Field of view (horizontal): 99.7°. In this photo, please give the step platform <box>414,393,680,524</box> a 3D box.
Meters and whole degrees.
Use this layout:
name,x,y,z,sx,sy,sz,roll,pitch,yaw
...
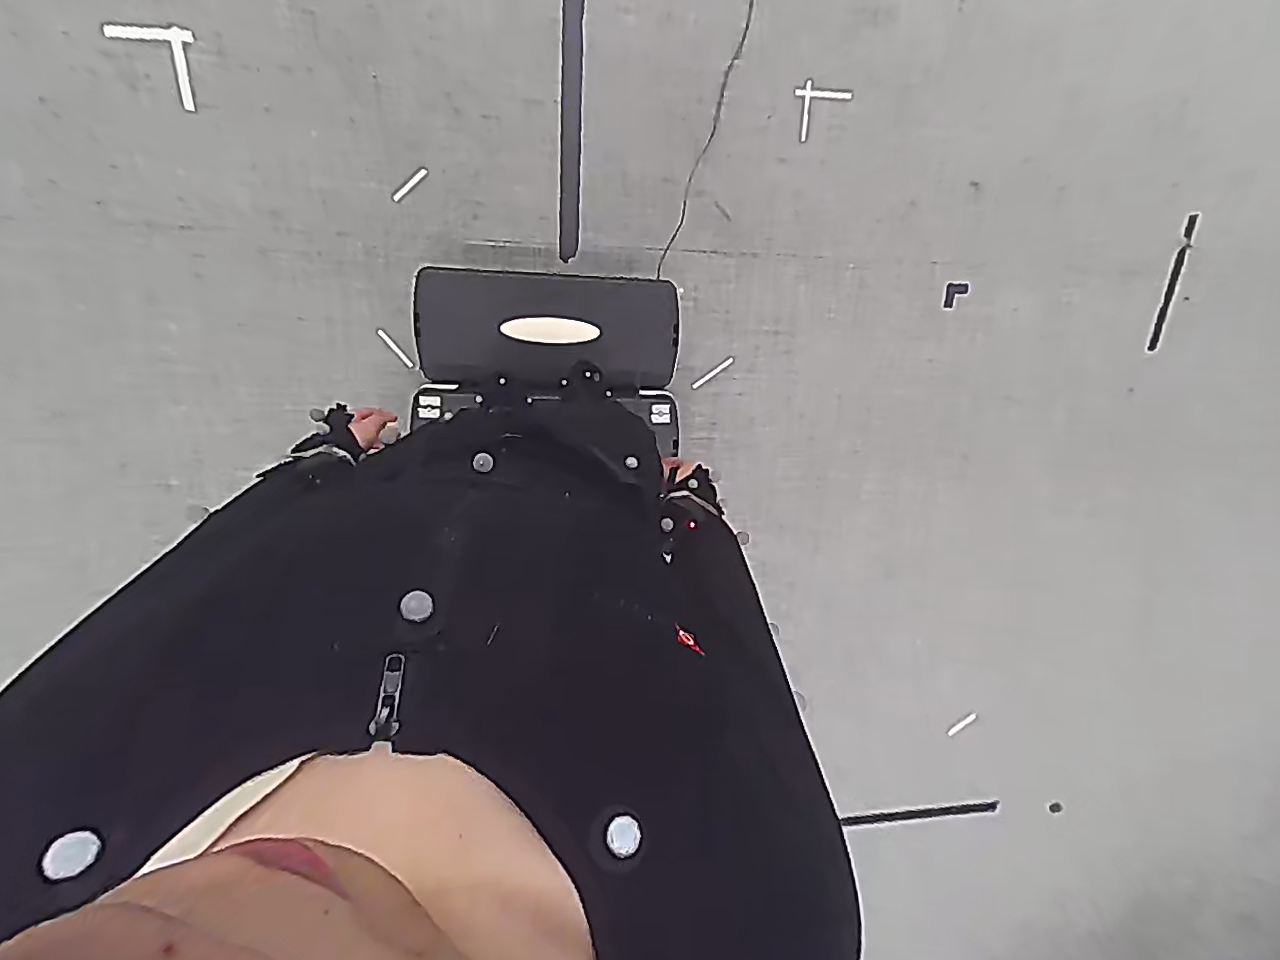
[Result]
name,x,y,z,sx,sy,sz,roll,pitch,yaw
step platform,-0.234,-0.056,1.446,0.684,0.204,0.286,5,103,-8
